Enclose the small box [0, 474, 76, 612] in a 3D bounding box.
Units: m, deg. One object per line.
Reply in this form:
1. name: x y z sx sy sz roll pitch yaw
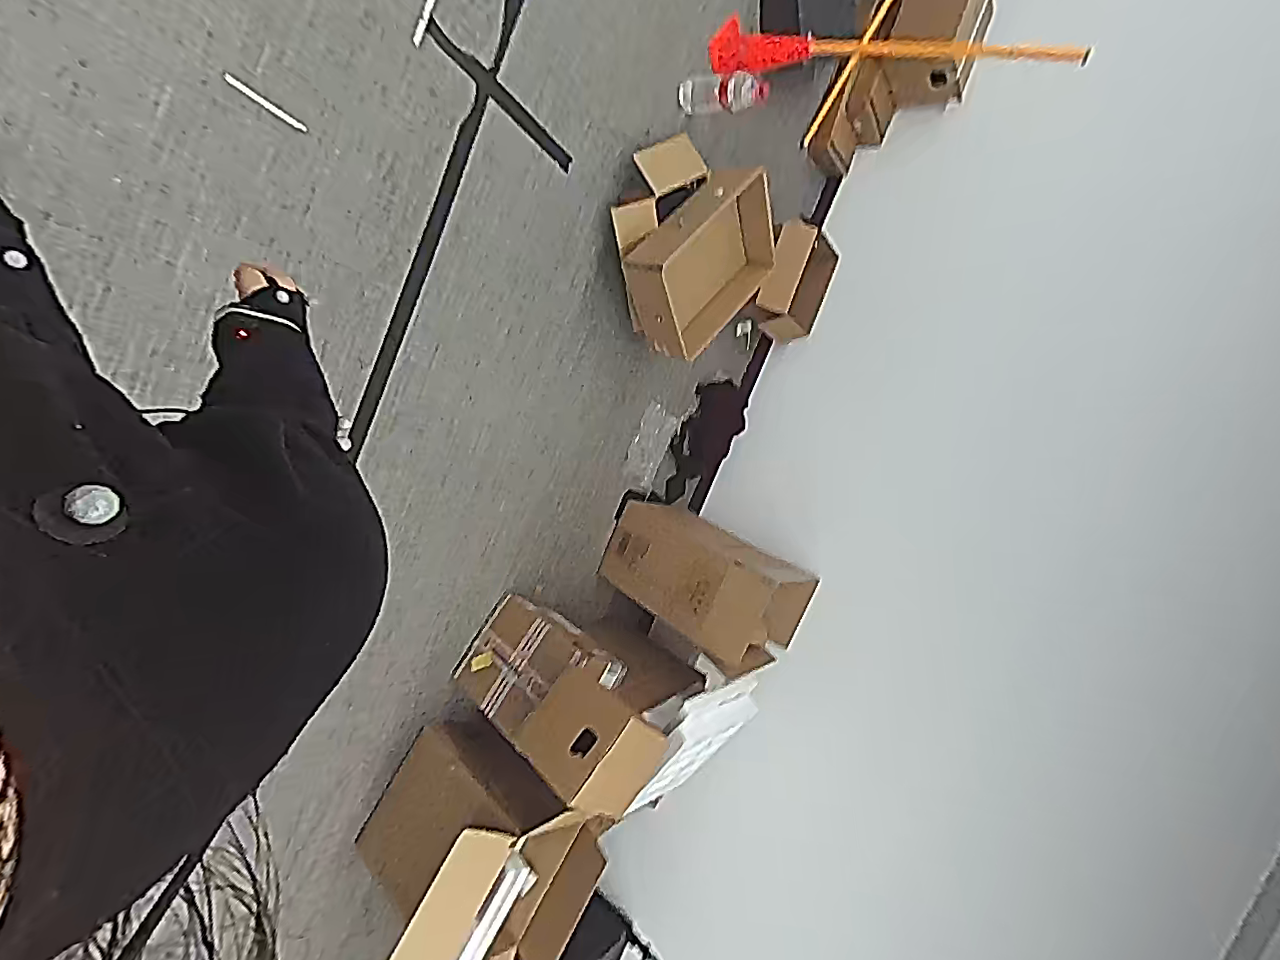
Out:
1. small box: -1.081 0.096 0.886 0.168 0.176 0.179 25 90 -56
